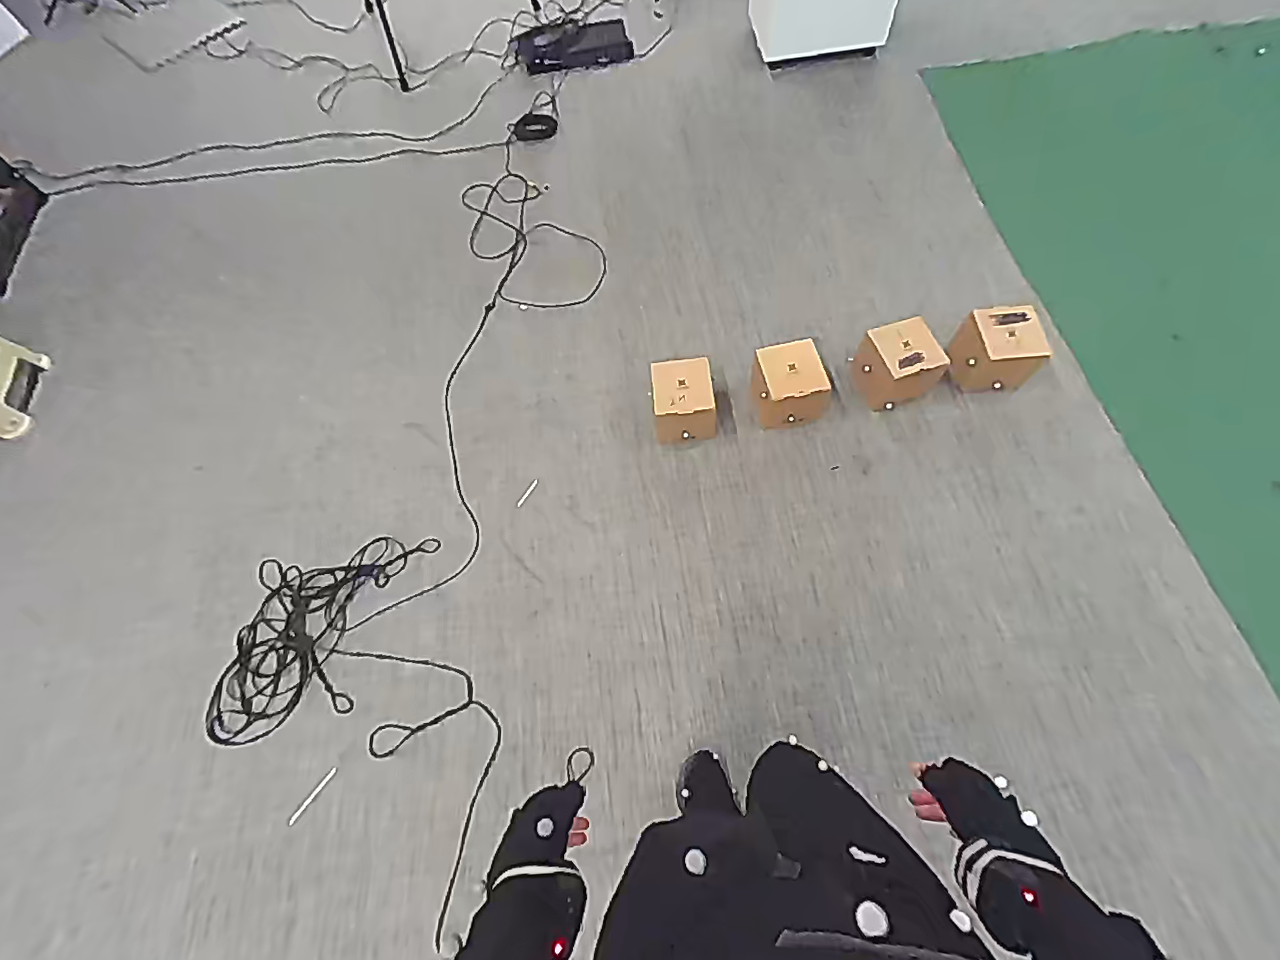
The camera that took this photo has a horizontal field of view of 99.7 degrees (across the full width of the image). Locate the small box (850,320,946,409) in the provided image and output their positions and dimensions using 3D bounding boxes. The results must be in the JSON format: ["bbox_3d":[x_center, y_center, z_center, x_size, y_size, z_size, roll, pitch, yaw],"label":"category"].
[{"bbox_3d":[0.735,-0.325,1.559,0.168,0.176,0.179,-15,64,-3],"label":"small box"}]

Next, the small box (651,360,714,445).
[{"bbox_3d":[0.120,-0.220,1.564,0.168,0.176,0.179,-6,65,3],"label":"small box"}]

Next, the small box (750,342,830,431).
[{"bbox_3d":[0.422,-0.266,1.559,0.168,0.176,0.179,-12,65,0],"label":"small box"}]
